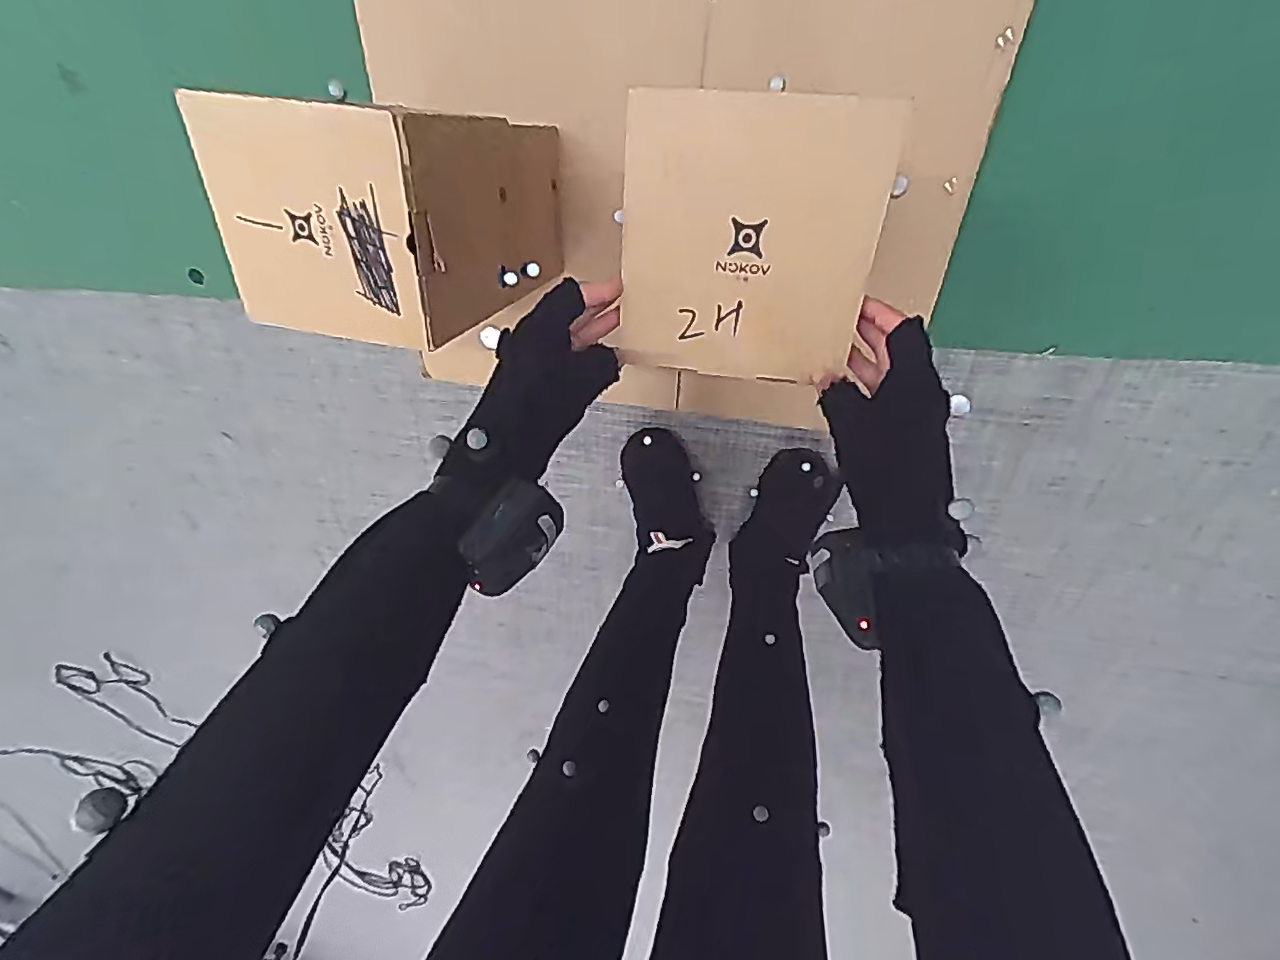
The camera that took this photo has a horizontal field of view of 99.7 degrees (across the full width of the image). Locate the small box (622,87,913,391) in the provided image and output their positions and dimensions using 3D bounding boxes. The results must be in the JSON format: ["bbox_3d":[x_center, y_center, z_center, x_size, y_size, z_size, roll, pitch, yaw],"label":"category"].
[{"bbox_3d":[0.085,-0.190,0.425,0.168,0.176,0.179,8,123,8],"label":"small box"}]

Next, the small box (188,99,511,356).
[{"bbox_3d":[-0.223,-0.226,0.476,0.179,0.176,0.168,12,123,9],"label":"small box"}]
